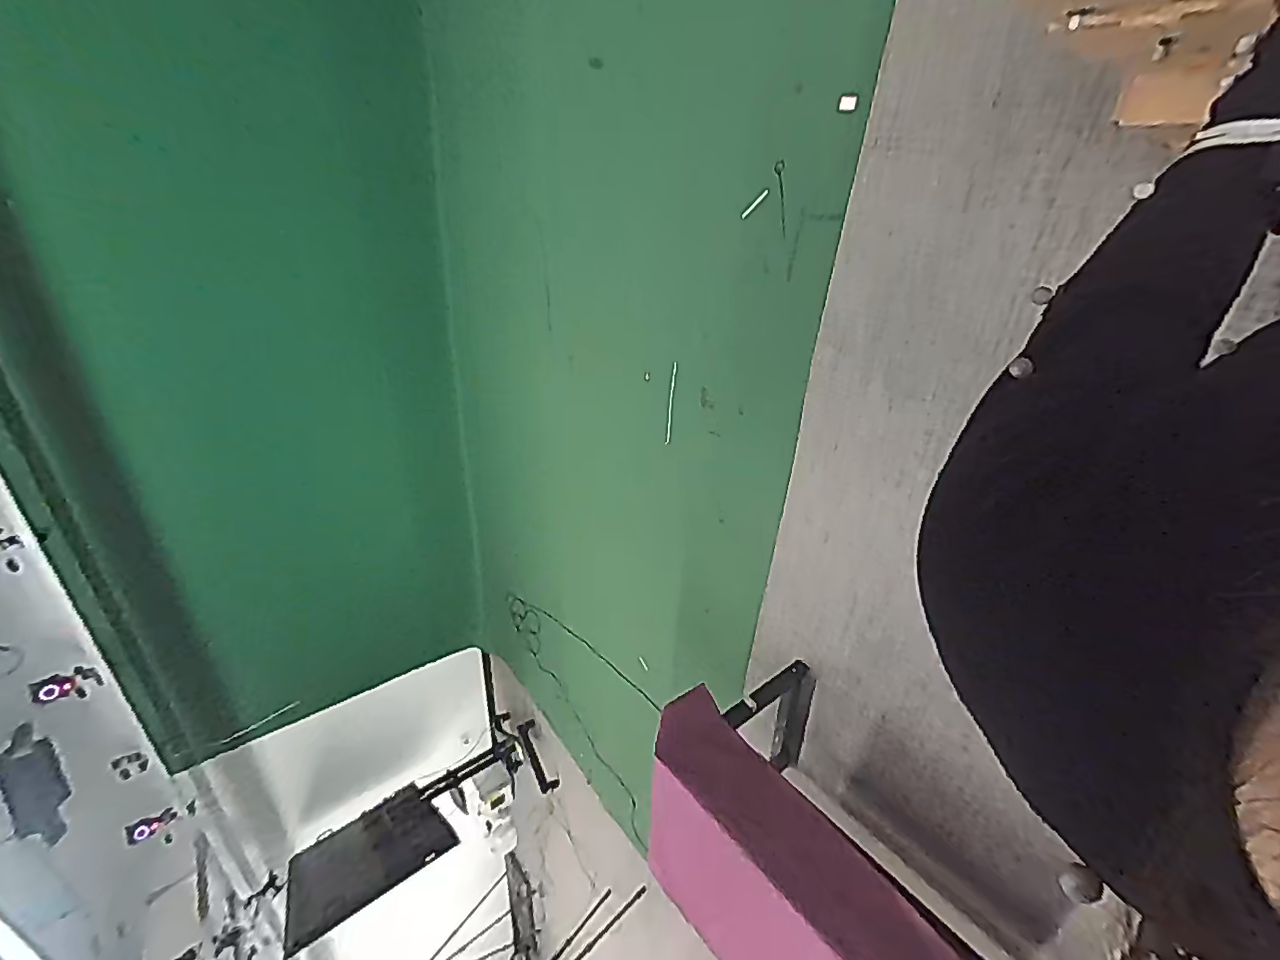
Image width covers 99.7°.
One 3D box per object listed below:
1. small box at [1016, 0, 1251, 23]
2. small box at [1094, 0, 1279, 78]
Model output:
[{"bbox_3d":[0.403,-0.470,0.399,0.168,0.176,0.179,31,127,41],"label":"small box"},{"bbox_3d":[0.654,-0.558,0.591,0.168,0.176,0.179,33,129,40],"label":"small box"}]
